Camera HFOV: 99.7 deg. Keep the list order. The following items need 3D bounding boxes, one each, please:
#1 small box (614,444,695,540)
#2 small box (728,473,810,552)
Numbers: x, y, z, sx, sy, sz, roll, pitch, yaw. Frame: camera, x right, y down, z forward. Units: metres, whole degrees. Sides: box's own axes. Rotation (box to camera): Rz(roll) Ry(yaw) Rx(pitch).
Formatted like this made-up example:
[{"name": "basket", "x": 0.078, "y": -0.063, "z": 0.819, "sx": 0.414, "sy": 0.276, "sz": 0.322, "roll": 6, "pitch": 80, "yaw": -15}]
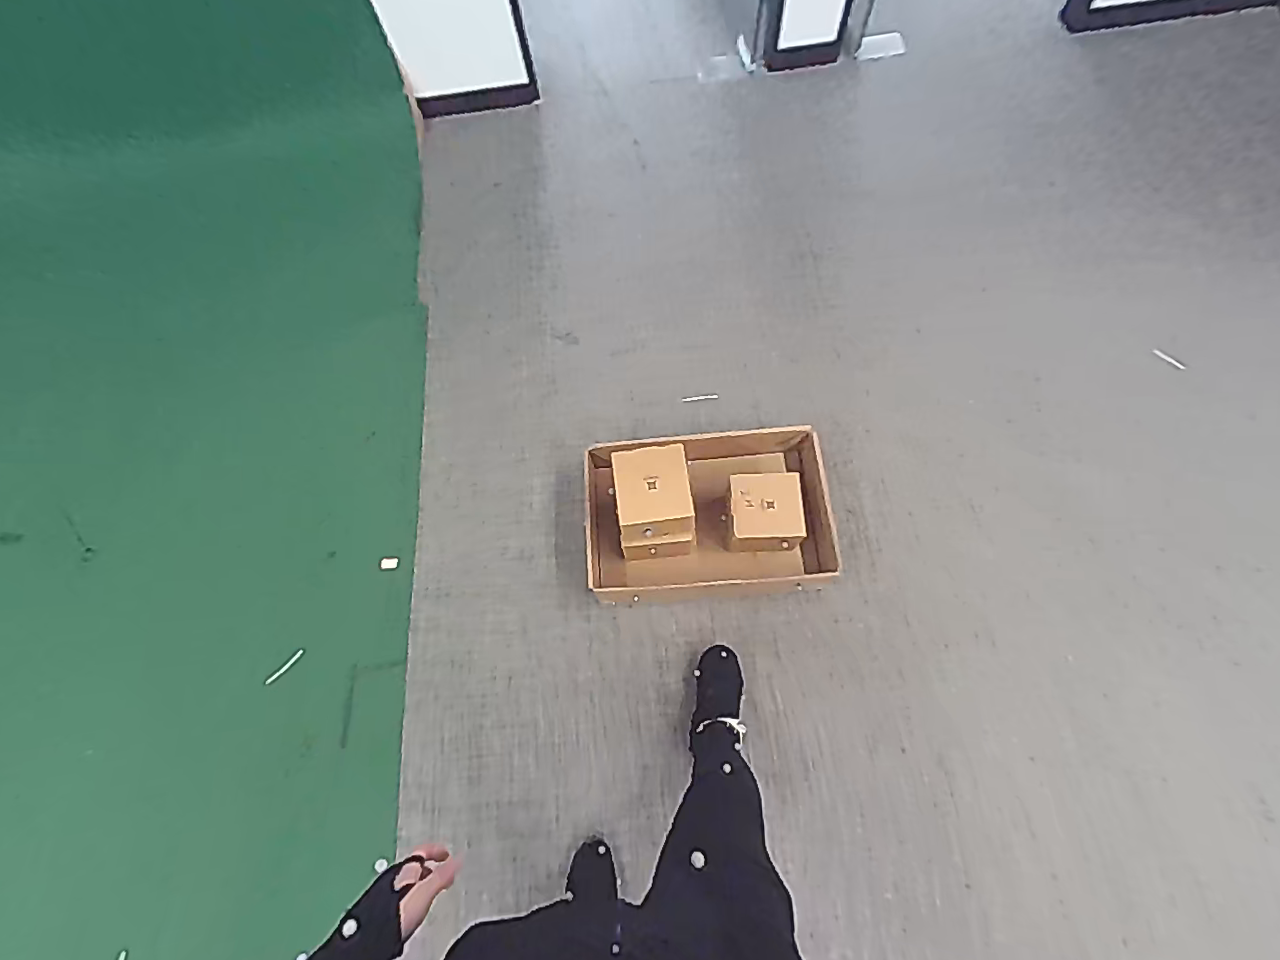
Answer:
[{"name": "small box", "x": 0.037, "y": 0.036, "z": 1.267, "sx": 0.168, "sy": 0.176, "sz": 0.179, "roll": -8, "pitch": 69, "yaw": 1}, {"name": "small box", "x": 0.326, "y": 0.088, "z": 1.399, "sx": 0.179, "sy": 0.176, "sz": 0.168, "roll": -2, "pitch": 70, "yaw": 4}]
